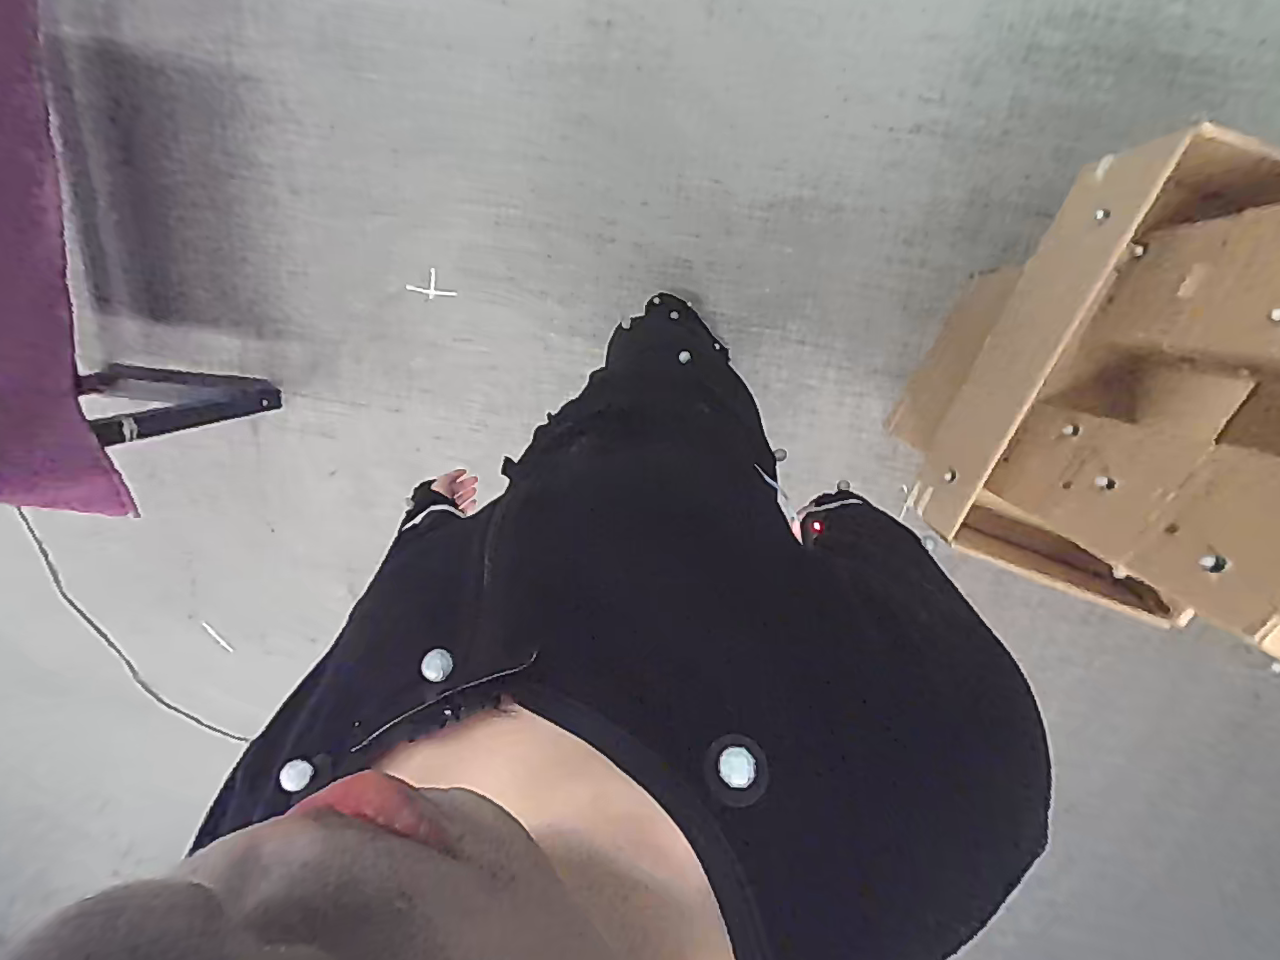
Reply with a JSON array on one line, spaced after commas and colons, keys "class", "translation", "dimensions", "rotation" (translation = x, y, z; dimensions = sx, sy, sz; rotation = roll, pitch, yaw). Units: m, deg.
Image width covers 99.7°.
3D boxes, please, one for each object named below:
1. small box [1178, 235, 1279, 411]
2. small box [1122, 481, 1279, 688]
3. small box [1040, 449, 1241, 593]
[{"class": "small box", "translation": [0.787, -0.171, 0.607], "dimensions": [0.168, 0.176, 0.179], "rotation": [21, 109, 1]}, {"class": "small box", "translation": [0.653, 0.118, 0.534], "dimensions": [0.179, 0.176, 0.168], "rotation": [30, 108, -2]}, {"class": "small box", "translation": [0.674, 0.074, 0.690], "dimensions": [0.179, 0.176, 0.168], "rotation": [29, 108, -1]}]
